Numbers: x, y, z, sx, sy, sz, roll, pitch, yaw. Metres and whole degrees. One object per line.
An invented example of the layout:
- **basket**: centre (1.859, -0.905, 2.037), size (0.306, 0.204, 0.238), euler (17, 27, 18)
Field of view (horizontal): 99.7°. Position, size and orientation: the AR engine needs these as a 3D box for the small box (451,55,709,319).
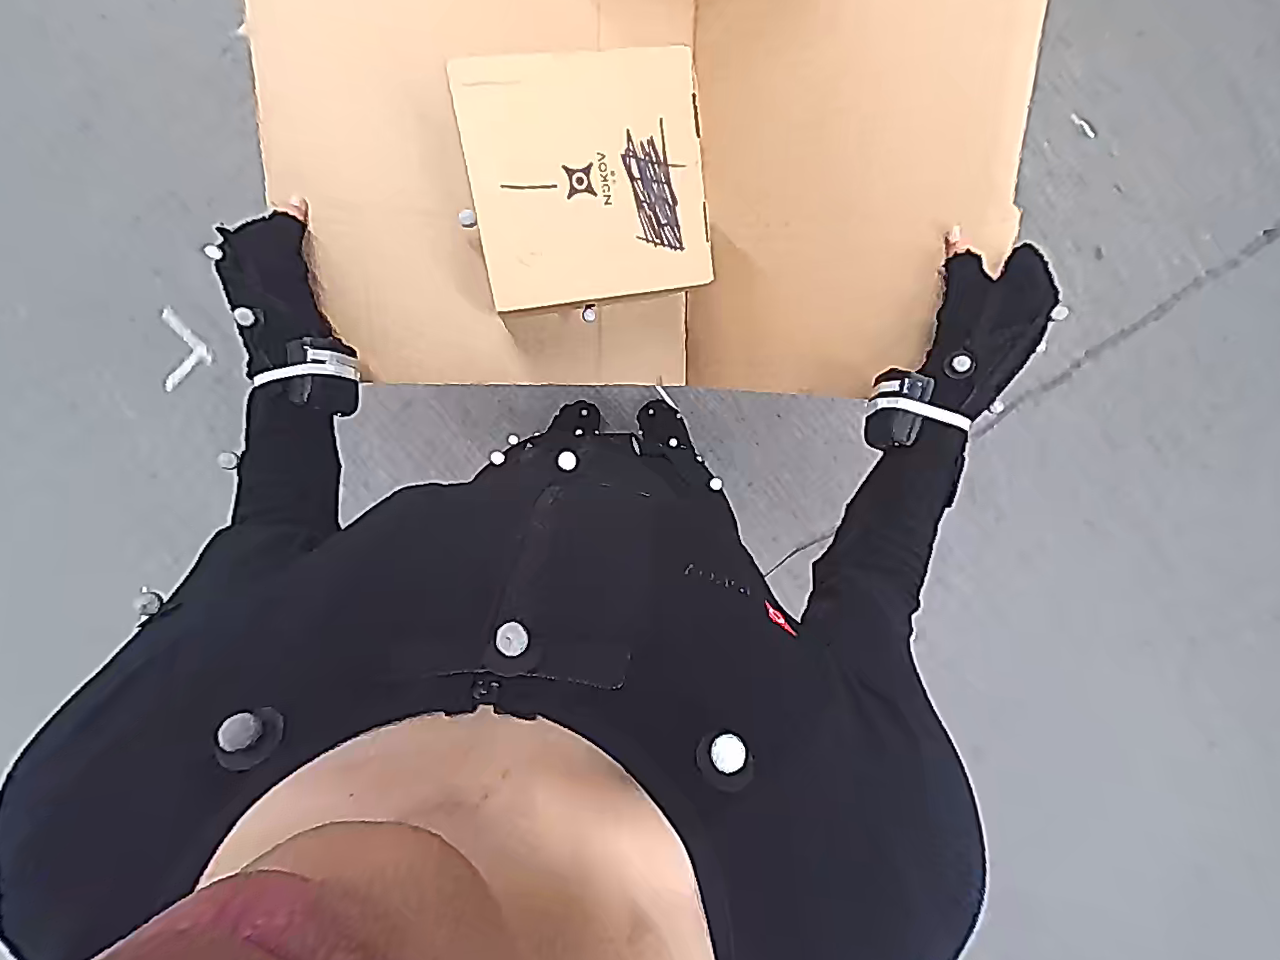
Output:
- **small box**: centre (-0.054, -0.242, 0.484), size (0.179, 0.176, 0.168), euler (-12, 106, -9)
